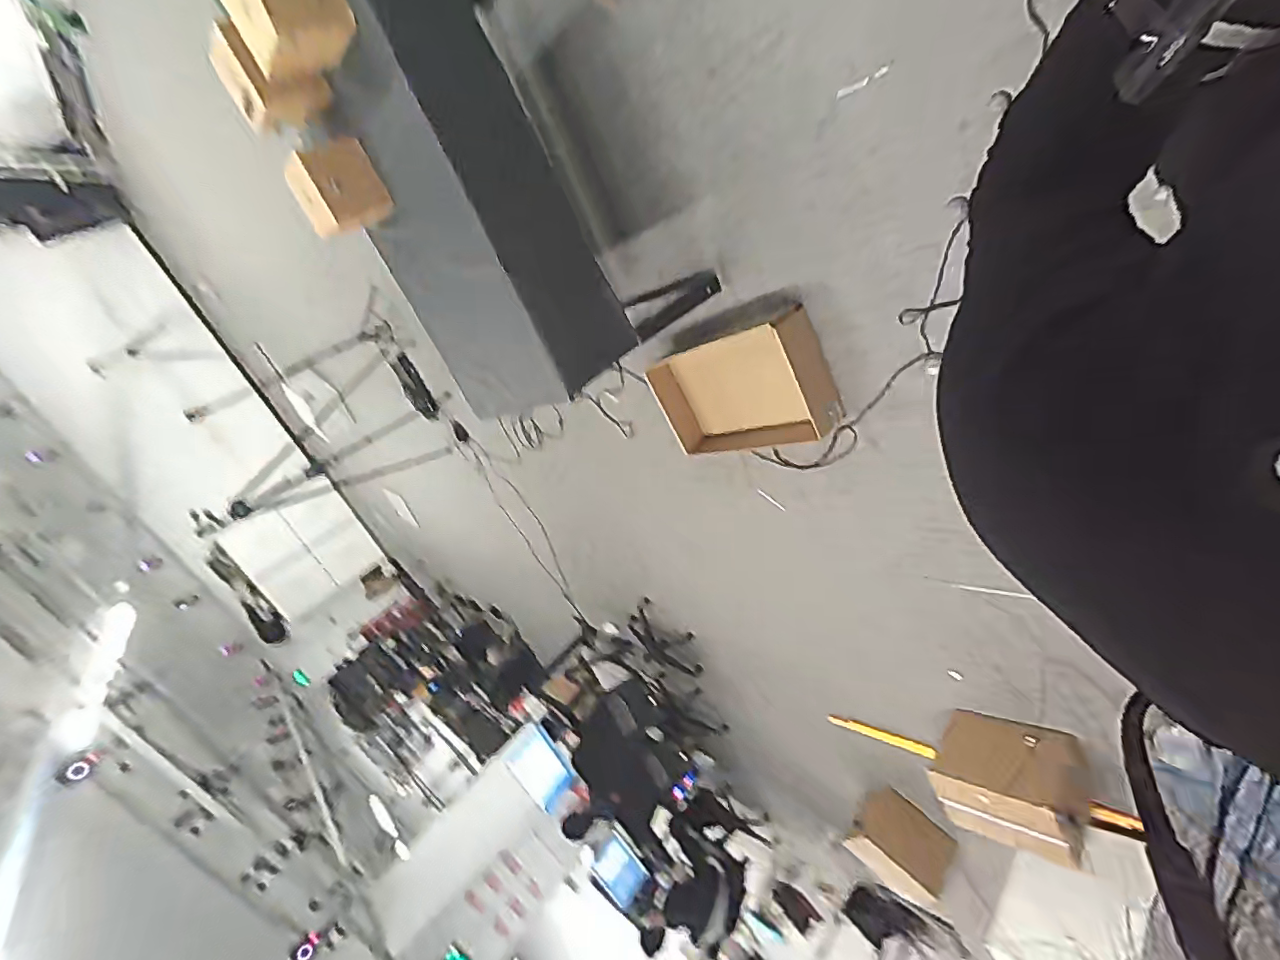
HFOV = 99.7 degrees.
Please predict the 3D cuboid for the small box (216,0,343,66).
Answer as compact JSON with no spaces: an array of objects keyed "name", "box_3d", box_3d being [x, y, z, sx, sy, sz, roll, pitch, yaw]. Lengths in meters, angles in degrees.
[{"name":"small box","box_3d":[-0.736,-0.978,1.090,0.179,0.176,0.168,6,128,47]}]
